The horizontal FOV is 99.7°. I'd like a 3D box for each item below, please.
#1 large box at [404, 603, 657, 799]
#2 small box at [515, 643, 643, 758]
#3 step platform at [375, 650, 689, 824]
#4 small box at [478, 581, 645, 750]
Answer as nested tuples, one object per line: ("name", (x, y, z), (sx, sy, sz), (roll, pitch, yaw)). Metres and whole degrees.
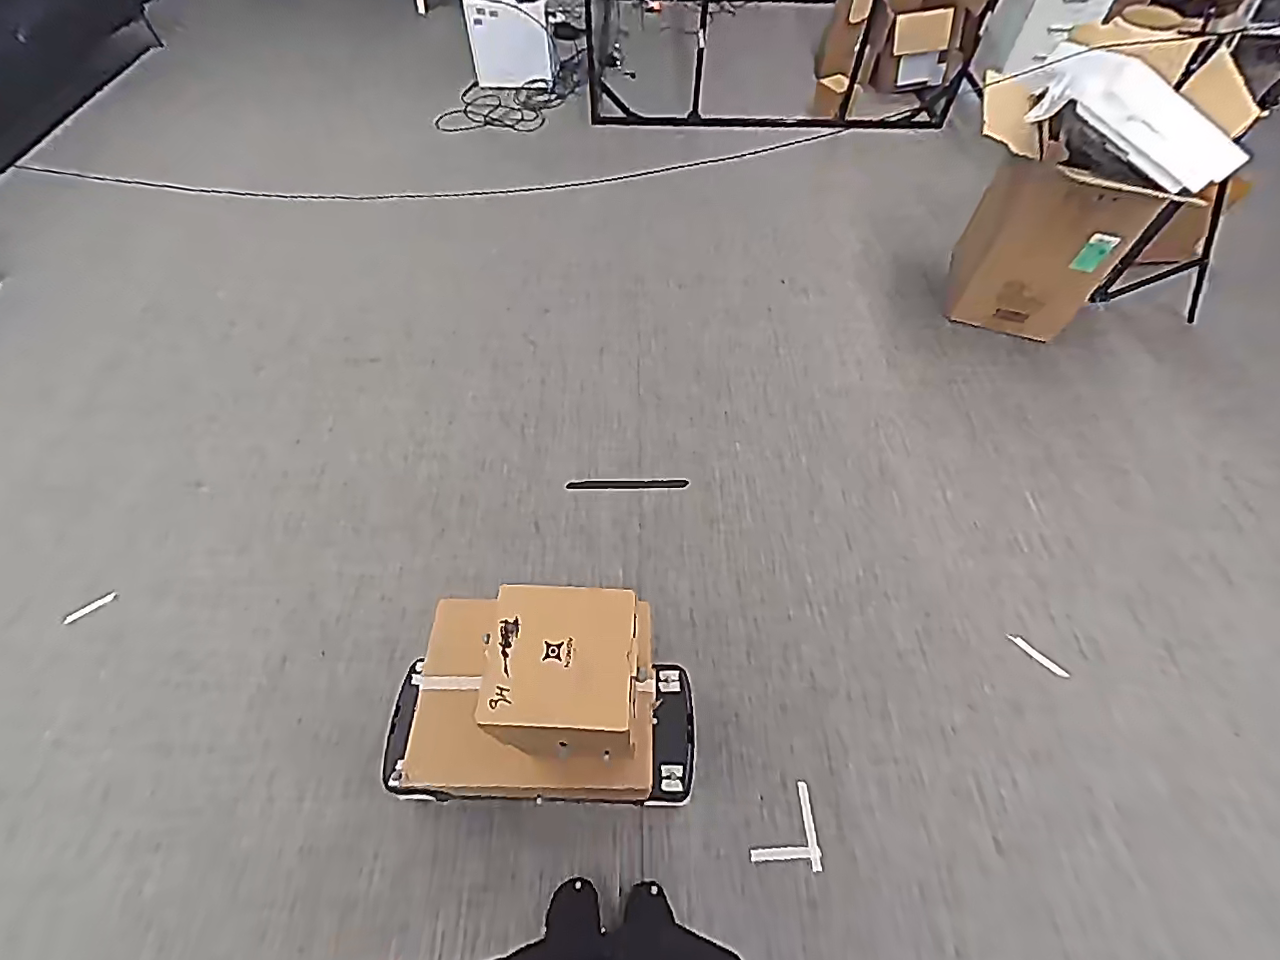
("large box", (-0.173, 0.440, 1.057), (0.408, 0.320, 0.320), (0, 56, 1))
("small box", (-0.086, 0.329, 0.838), (0.179, 0.176, 0.168), (0, 57, 0))
("step platform", (-0.229, 0.585, 1.245), (0.684, 0.204, 0.286), (5, 57, 4))
("small box", (-0.088, 0.244, 0.697), (0.179, 0.176, 0.168), (3, 56, 1))
